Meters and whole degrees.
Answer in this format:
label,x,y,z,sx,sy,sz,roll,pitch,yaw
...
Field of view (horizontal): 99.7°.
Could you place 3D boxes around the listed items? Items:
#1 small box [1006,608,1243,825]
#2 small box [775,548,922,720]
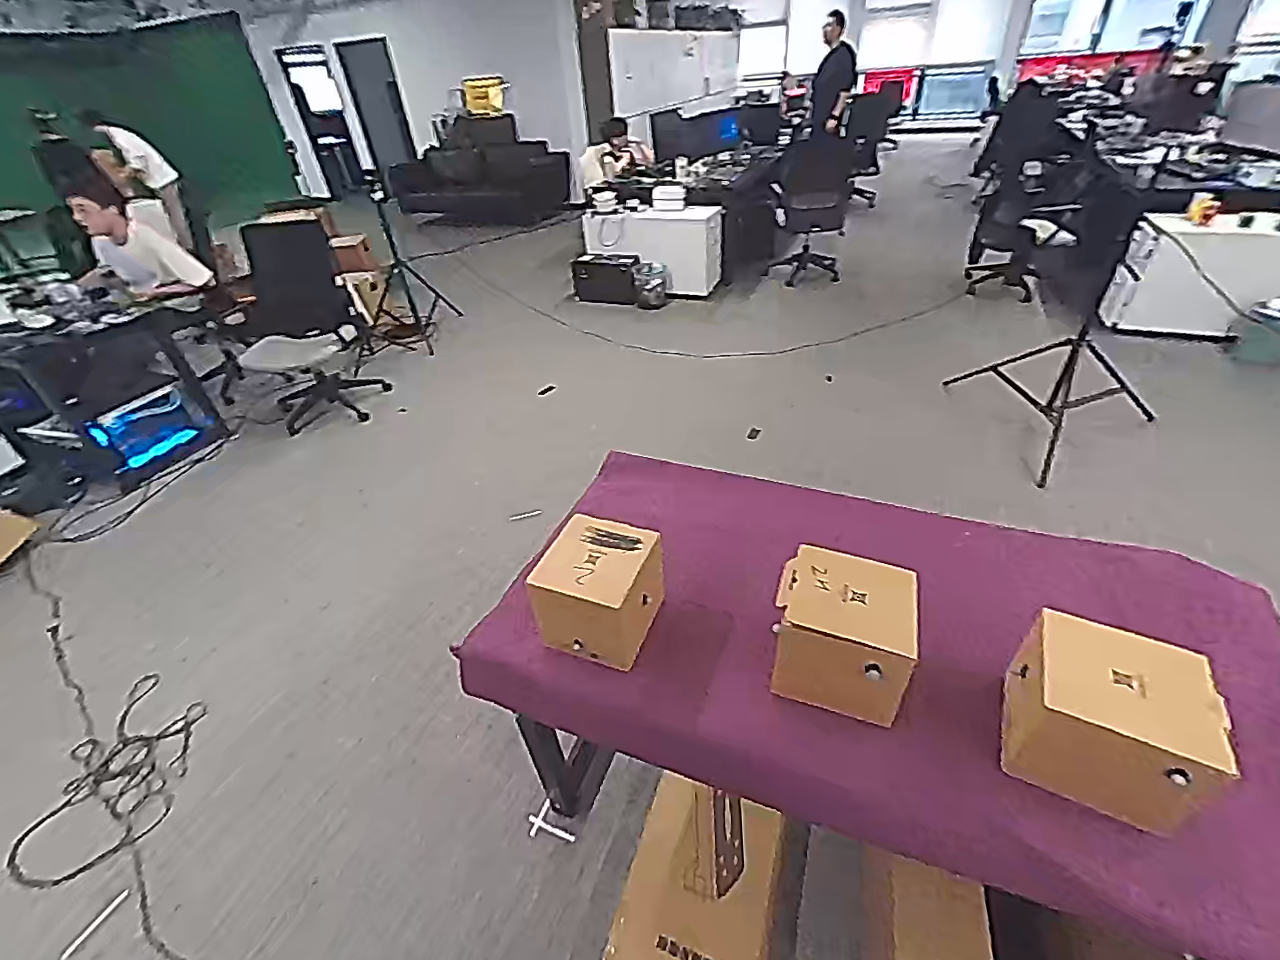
label,x,y,z,sx,sy,sz,roll,pitch,yaw
small box,0.599,0.303,0.700,0.179,0.176,0.168,16,42,25
small box,0.313,0.234,0.823,0.179,0.176,0.168,10,38,20
